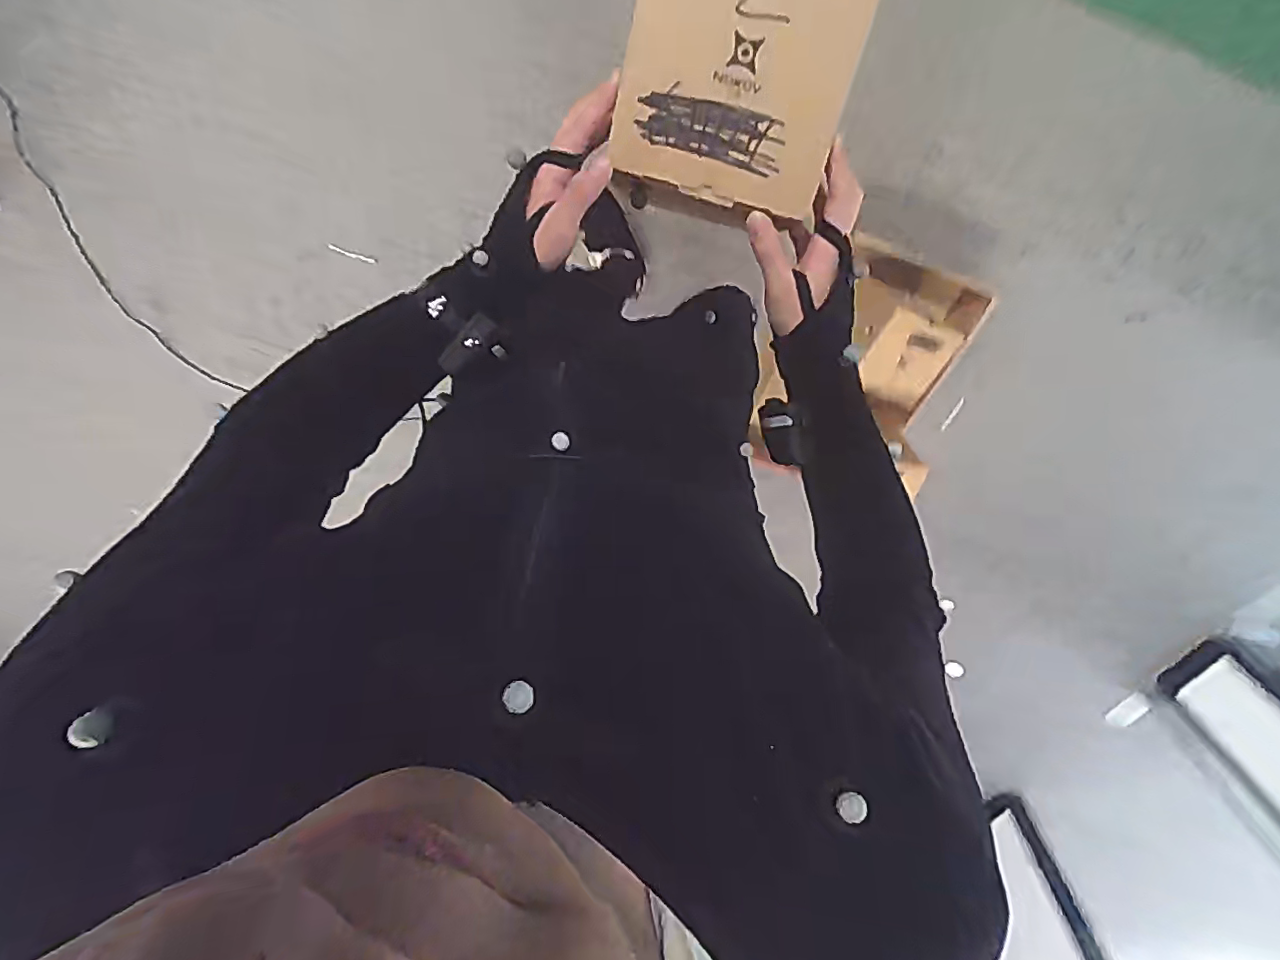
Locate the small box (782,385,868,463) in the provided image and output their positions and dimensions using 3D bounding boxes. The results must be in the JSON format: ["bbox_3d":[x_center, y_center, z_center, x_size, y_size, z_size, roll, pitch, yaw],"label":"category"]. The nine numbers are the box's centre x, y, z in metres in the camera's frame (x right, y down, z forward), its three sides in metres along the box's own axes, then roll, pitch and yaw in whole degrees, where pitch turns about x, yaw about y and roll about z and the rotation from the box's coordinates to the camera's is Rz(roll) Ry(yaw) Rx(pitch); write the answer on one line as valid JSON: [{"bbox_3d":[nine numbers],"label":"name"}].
[{"bbox_3d":[0.499,-0.154,1.480,0.179,0.176,0.168,5,121,0],"label":"small box"}]

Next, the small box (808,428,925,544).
[{"bbox_3d":[0.487,0.010,1.198,0.168,0.176,0.179,12,122,-4],"label":"small box"}]

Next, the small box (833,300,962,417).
[{"bbox_3d":[0.559,-0.277,1.206,0.168,0.176,0.179,22,122,-10],"label":"small box"}]
